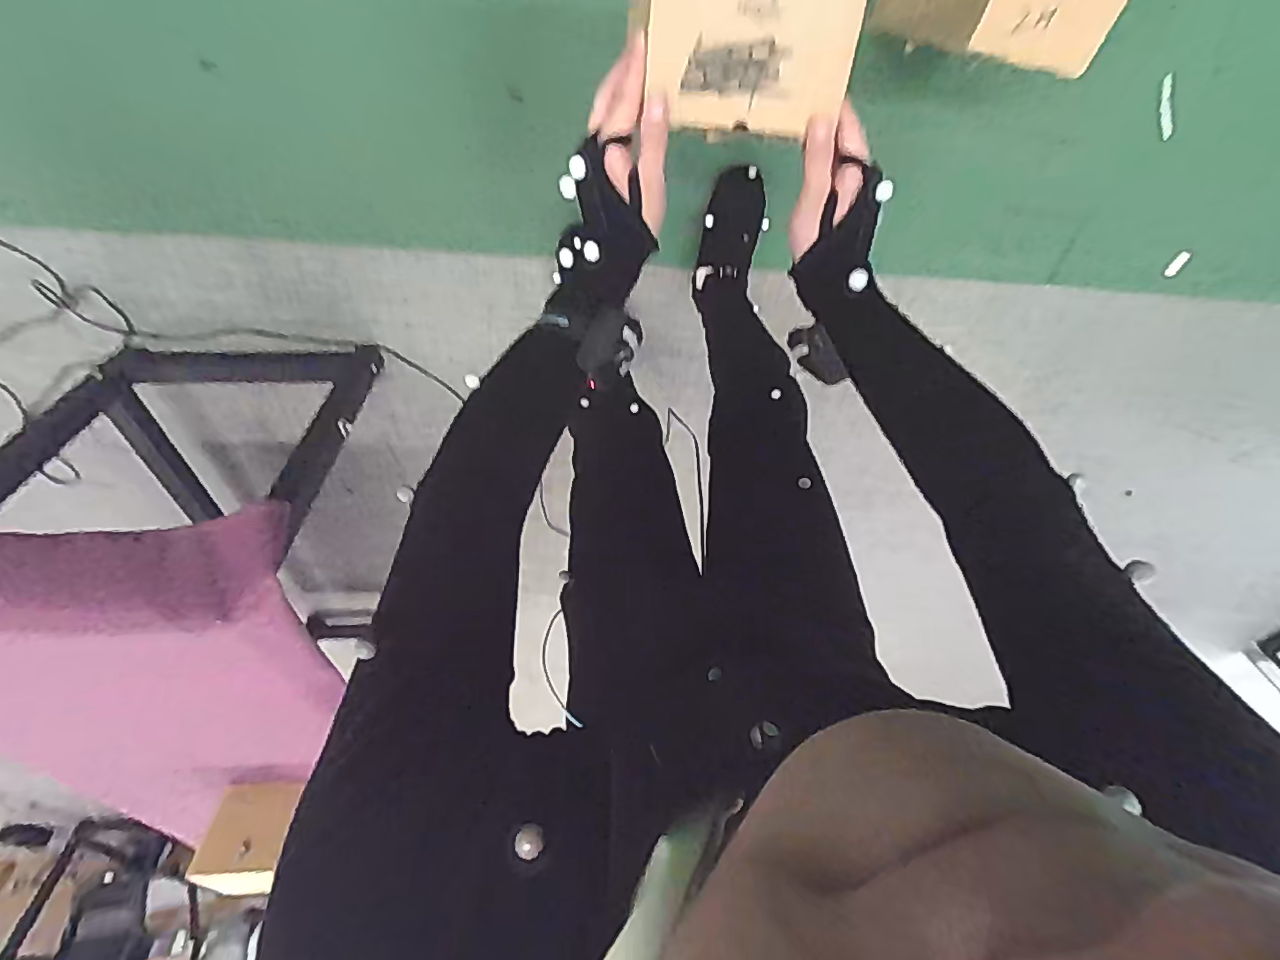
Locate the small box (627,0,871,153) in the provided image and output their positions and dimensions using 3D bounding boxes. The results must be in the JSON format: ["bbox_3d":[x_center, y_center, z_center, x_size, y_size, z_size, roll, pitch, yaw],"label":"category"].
[{"bbox_3d":[0.081,-0.392,0.460,0.168,0.176,0.179,1,123,-8],"label":"small box"}]

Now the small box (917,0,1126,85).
[{"bbox_3d":[0.487,-0.630,0.678,0.168,0.176,0.179,6,133,-10],"label":"small box"}]

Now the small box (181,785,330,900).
[{"bbox_3d":[-0.803,0.770,1.152,0.179,0.176,0.168,-1,133,-4],"label":"small box"}]
